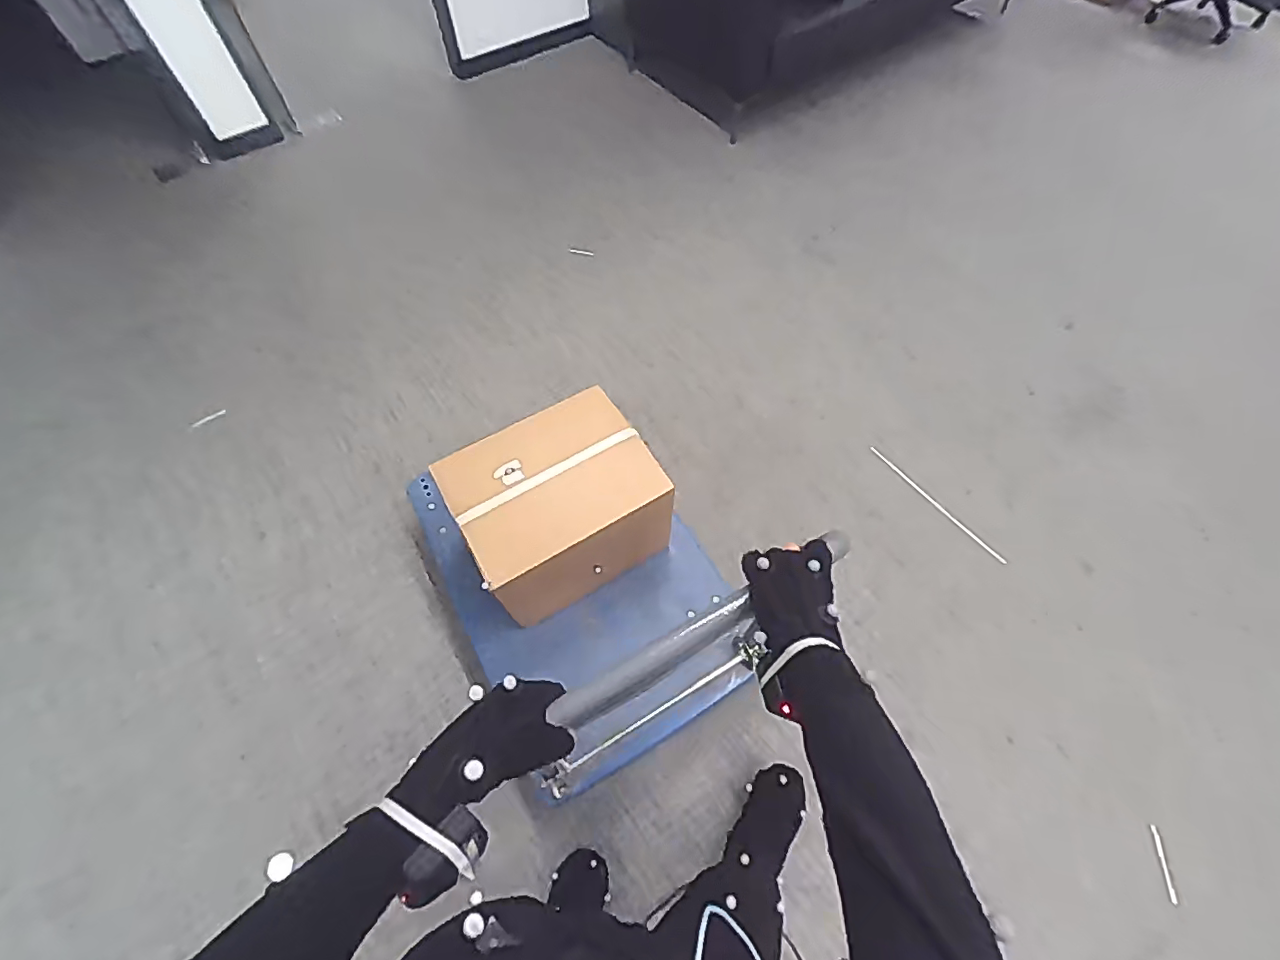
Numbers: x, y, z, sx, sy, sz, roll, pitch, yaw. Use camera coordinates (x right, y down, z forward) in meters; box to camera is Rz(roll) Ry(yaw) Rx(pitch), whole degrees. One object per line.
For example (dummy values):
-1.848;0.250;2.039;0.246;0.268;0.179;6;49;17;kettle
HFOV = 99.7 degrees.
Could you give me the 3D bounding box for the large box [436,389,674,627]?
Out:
-0.174;0.071;1.231;0.408;0.320;0.320;-29;65;-14;large box
